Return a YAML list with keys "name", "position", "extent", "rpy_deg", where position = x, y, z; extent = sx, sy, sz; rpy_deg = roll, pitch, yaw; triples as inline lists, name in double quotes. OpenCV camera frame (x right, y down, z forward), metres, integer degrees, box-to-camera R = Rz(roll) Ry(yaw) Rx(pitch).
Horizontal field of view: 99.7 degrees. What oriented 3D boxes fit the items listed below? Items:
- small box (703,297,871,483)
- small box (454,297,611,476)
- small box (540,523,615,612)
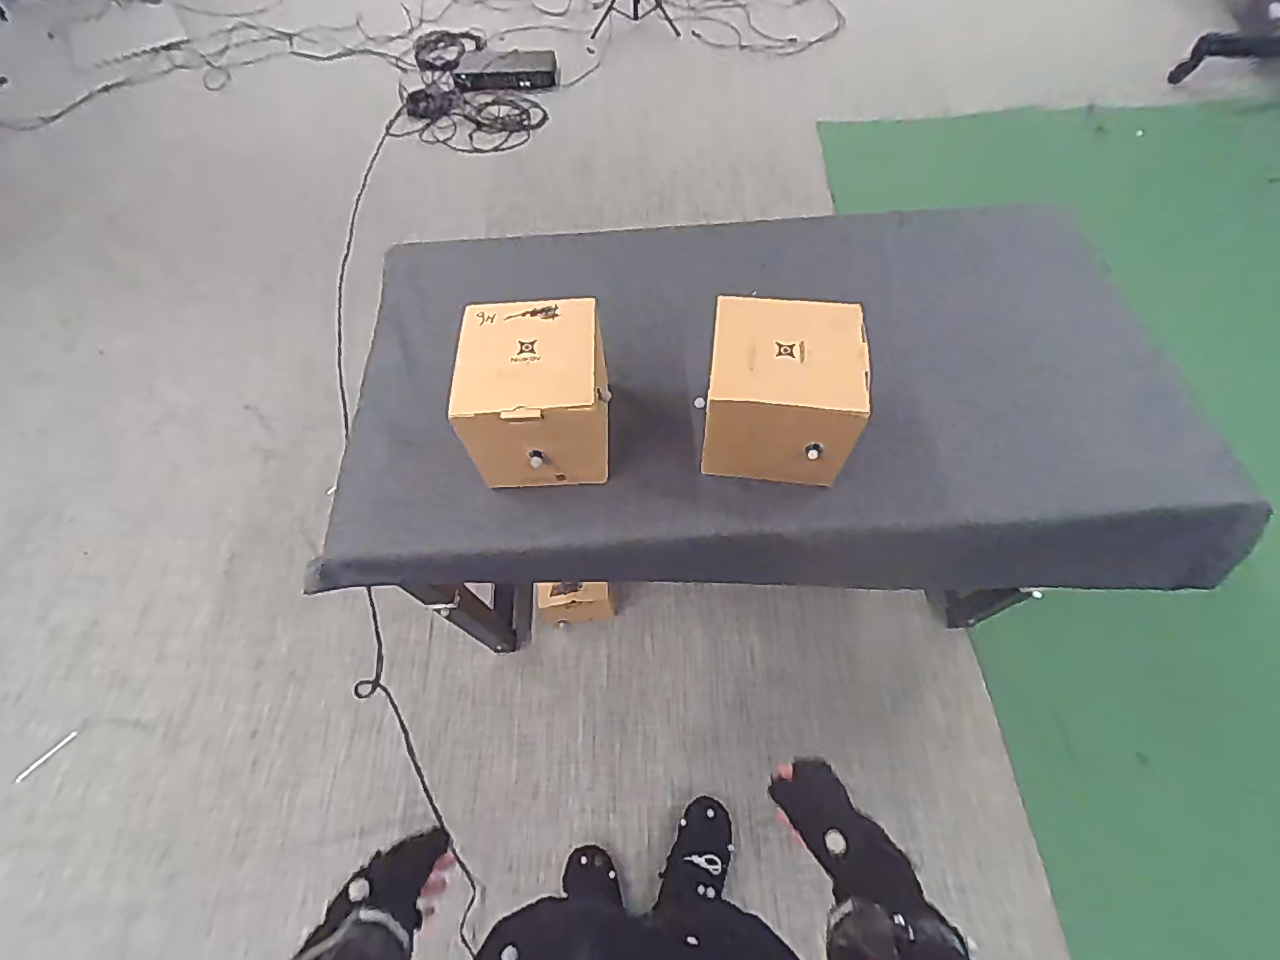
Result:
- name: "small box"
  position: [0.179, -0.109, 0.699]
  extent: [0.179, 0.176, 0.168]
  rpy_deg: [6, 62, 7]
- name: "small box"
  position: [-0.127, -0.113, 0.711]
  extent: [0.168, 0.176, 0.179]
  rpy_deg: [-2, 62, 1]
- name: "small box"
  position: [-0.155, 0.226, 1.360]
  extent: [0.168, 0.176, 0.179]
  rpy_deg: [-6, 62, -1]
